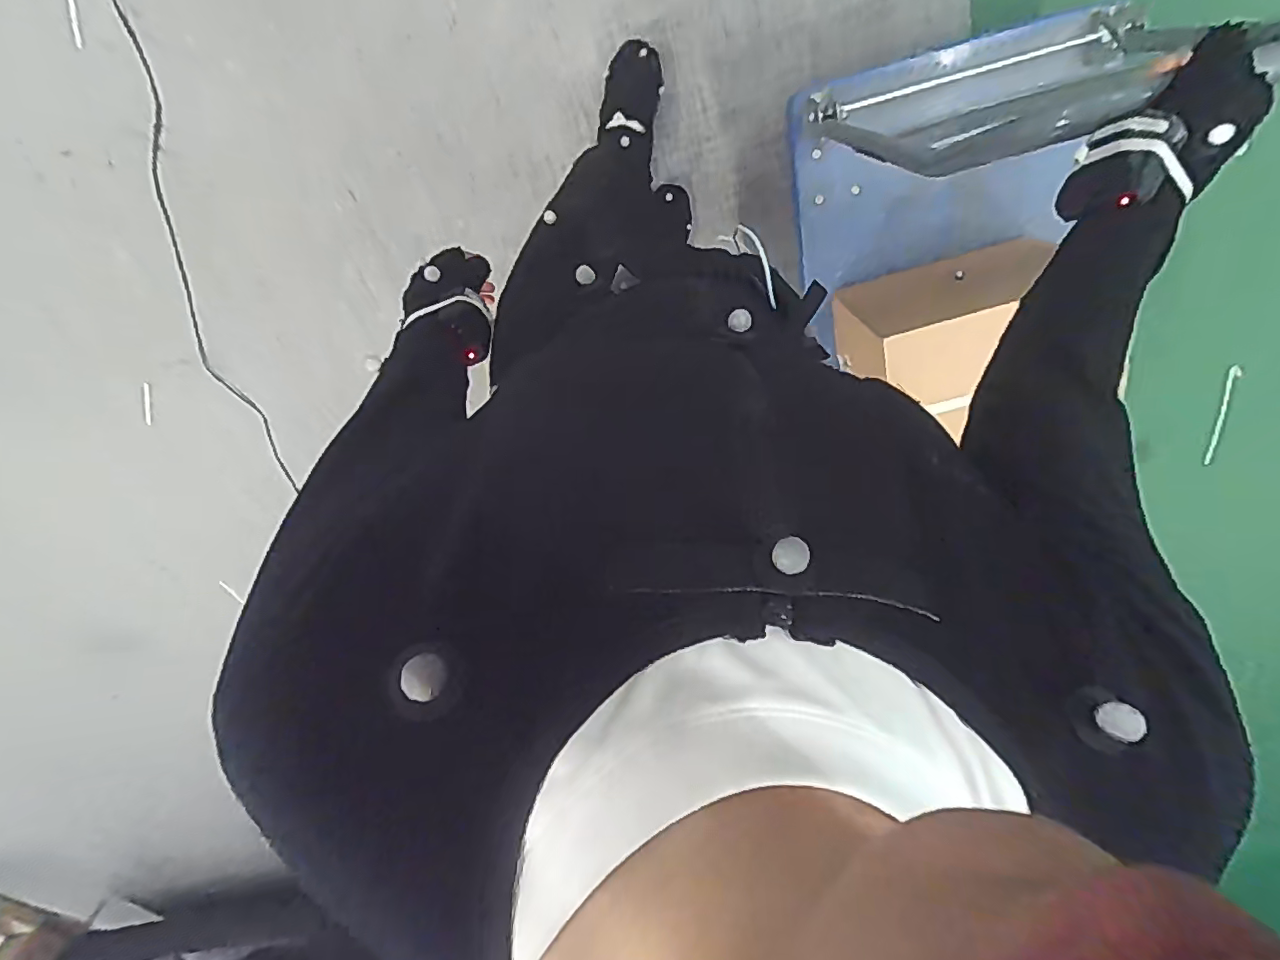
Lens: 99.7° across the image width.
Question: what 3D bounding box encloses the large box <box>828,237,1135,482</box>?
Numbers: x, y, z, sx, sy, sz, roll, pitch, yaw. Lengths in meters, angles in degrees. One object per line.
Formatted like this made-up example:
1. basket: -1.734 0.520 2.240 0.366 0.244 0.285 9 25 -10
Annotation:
1. large box: 0.640 -0.248 1.087 0.408 0.320 0.320 -15 122 9
